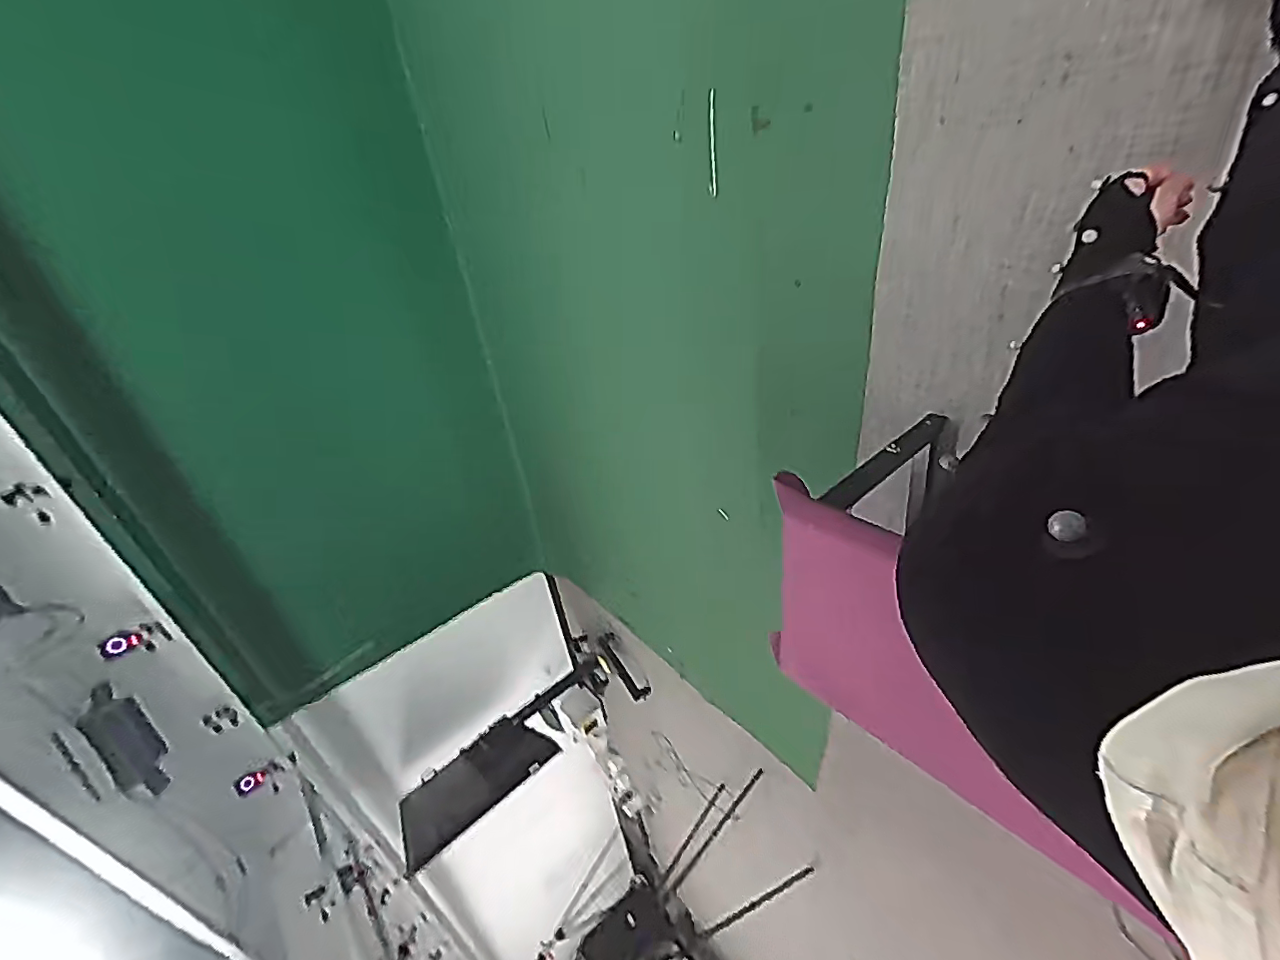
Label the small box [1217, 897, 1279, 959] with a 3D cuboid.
[{"bbox_3d":[0.988,0.778,0.791,0.179,0.176,0.168,23,133,46],"label":"small box"}]
